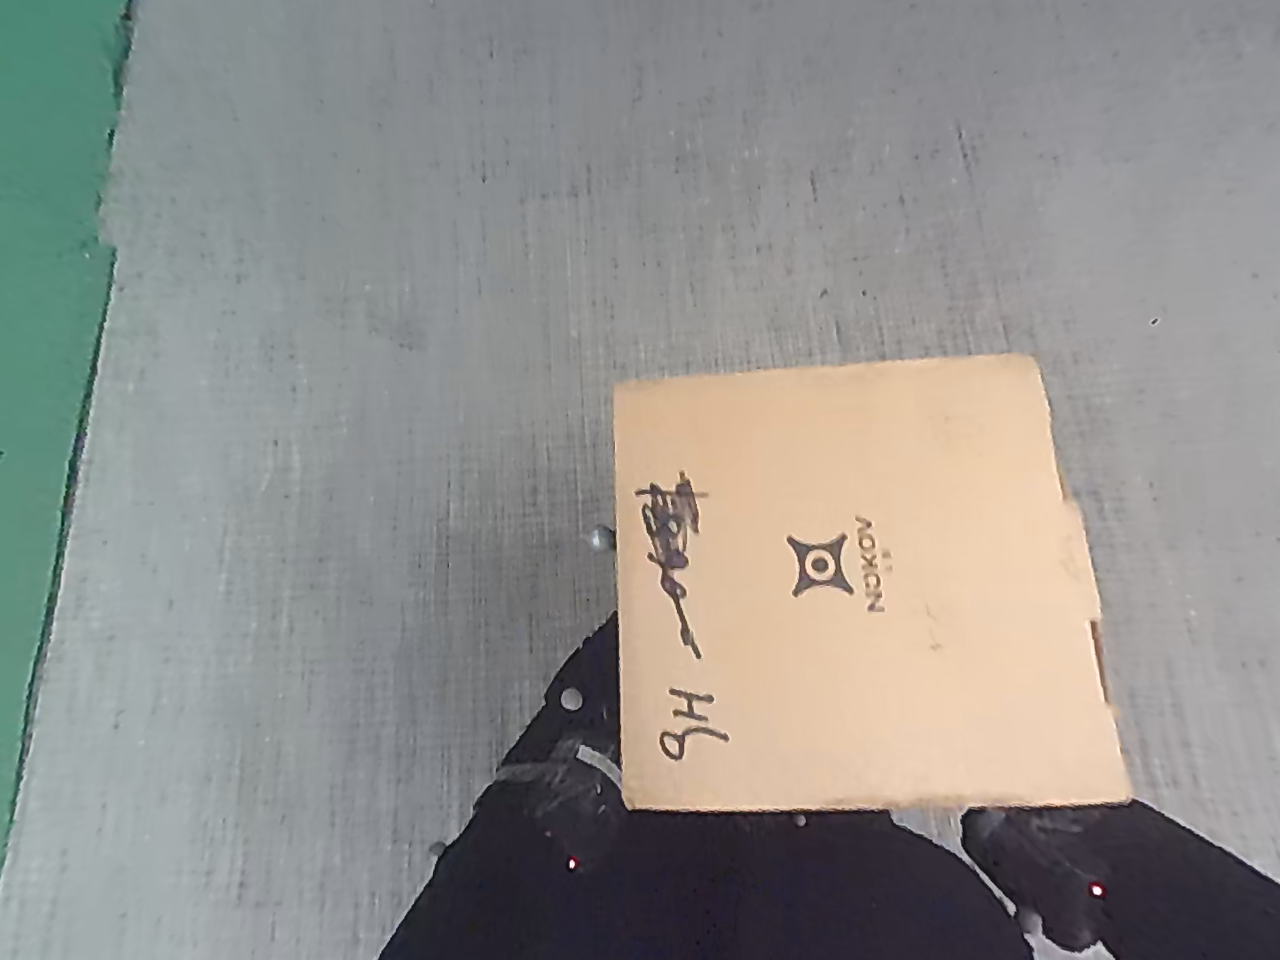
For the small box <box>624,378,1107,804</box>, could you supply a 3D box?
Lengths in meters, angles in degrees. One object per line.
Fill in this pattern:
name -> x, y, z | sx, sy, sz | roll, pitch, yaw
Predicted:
small box -> 0.084, 0.056, 0.292 | 0.179, 0.176, 0.168 | -2, 76, 4
